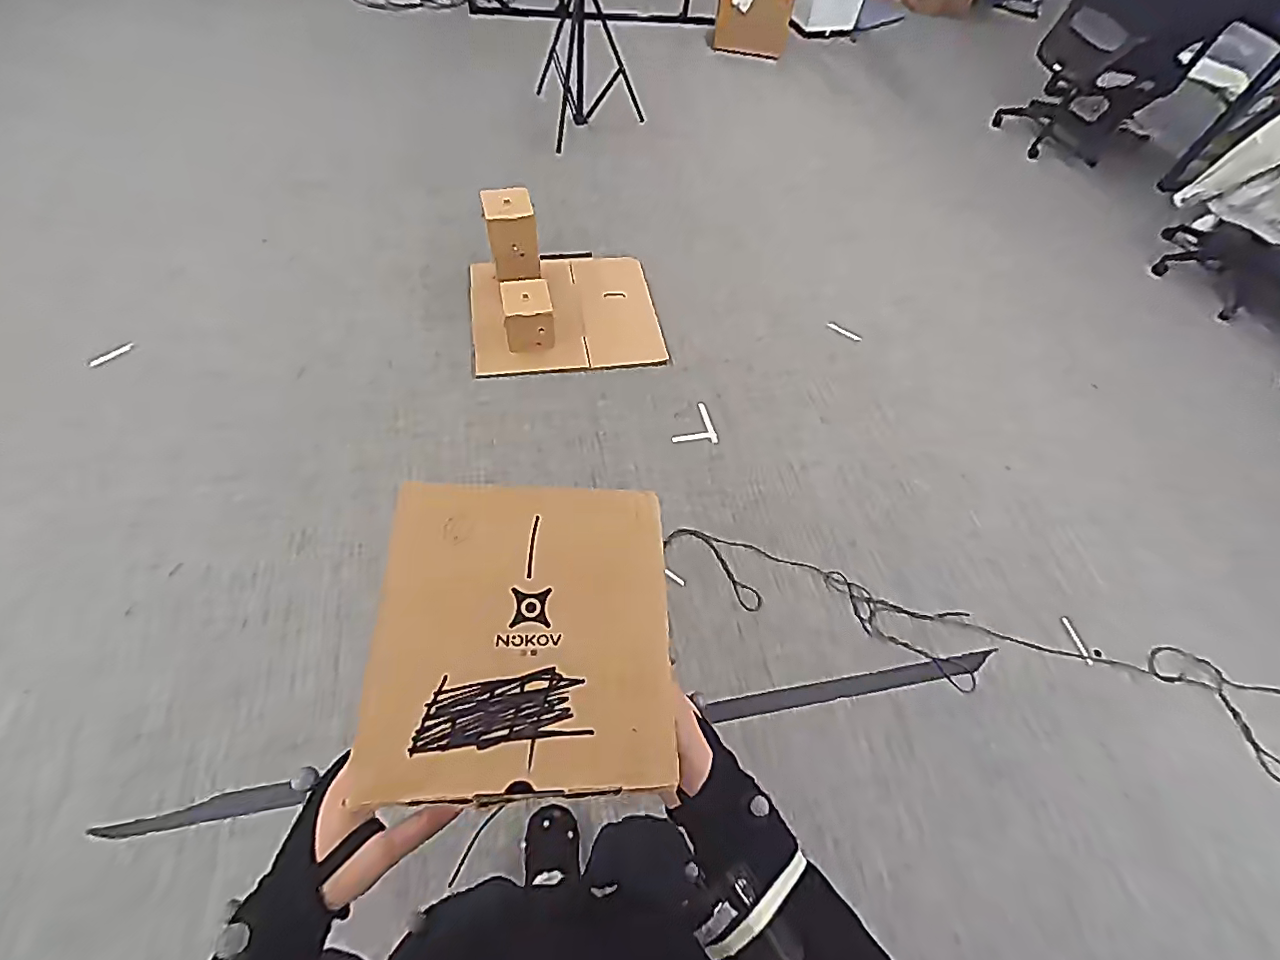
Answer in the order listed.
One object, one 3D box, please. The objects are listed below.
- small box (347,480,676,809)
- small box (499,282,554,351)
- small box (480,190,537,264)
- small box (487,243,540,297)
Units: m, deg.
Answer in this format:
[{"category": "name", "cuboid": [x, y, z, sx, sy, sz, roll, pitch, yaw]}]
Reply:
[{"category": "small box", "cuboid": [-0.076, 0.116, 0.376, 0.168, 0.176, 0.179, 2, 62, -10]}, {"category": "small box", "cuboid": [-0.404, -0.579, 1.931, 0.168, 0.176, 0.179, -9, 59, -13]}, {"category": "small box", "cuboid": [-0.468, -0.902, 1.930, 0.168, 0.176, 0.179, -12, 60, -13]}, {"category": "small box", "cuboid": [-0.479, -0.814, 2.069, 0.168, 0.176, 0.179, -13, 61, -15]}]
